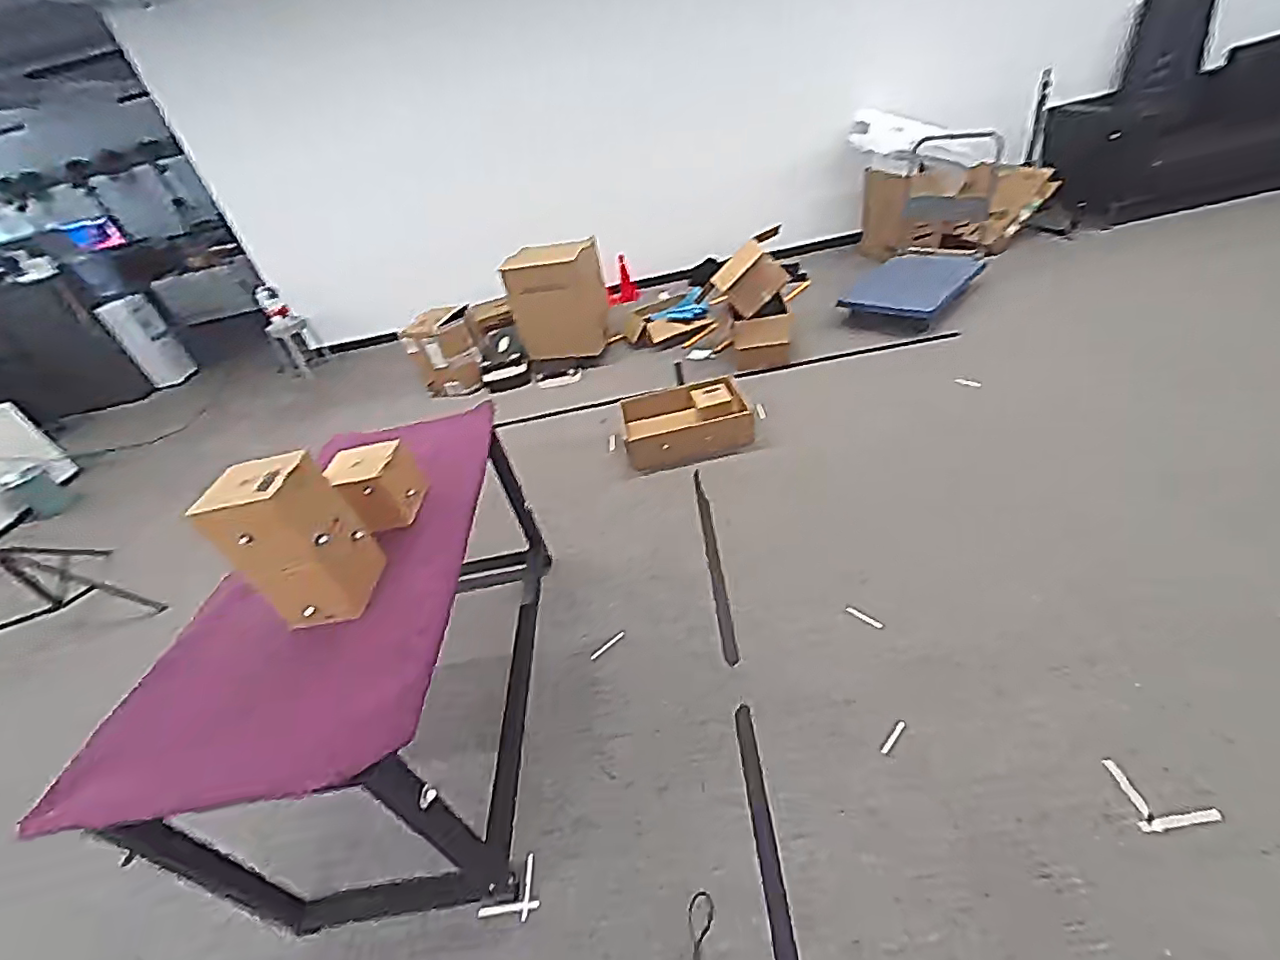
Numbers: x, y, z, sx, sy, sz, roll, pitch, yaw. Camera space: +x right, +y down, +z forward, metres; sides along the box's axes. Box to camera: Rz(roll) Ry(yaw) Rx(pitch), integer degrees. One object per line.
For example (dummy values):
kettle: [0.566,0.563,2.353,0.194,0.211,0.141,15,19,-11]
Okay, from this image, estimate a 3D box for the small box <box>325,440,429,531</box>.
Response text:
small box: [-0.690,0.021,1.417,0.179,0.176,0.168,-11,37,6]

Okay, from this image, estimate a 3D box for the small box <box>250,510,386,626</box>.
small box: [-0.693,0.194,1.194,0.168,0.176,0.179,-10,37,6]

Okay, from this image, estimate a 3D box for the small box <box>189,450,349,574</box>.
small box: [-0.734,0.067,1.097,0.179,0.176,0.168,-12,36,5]
